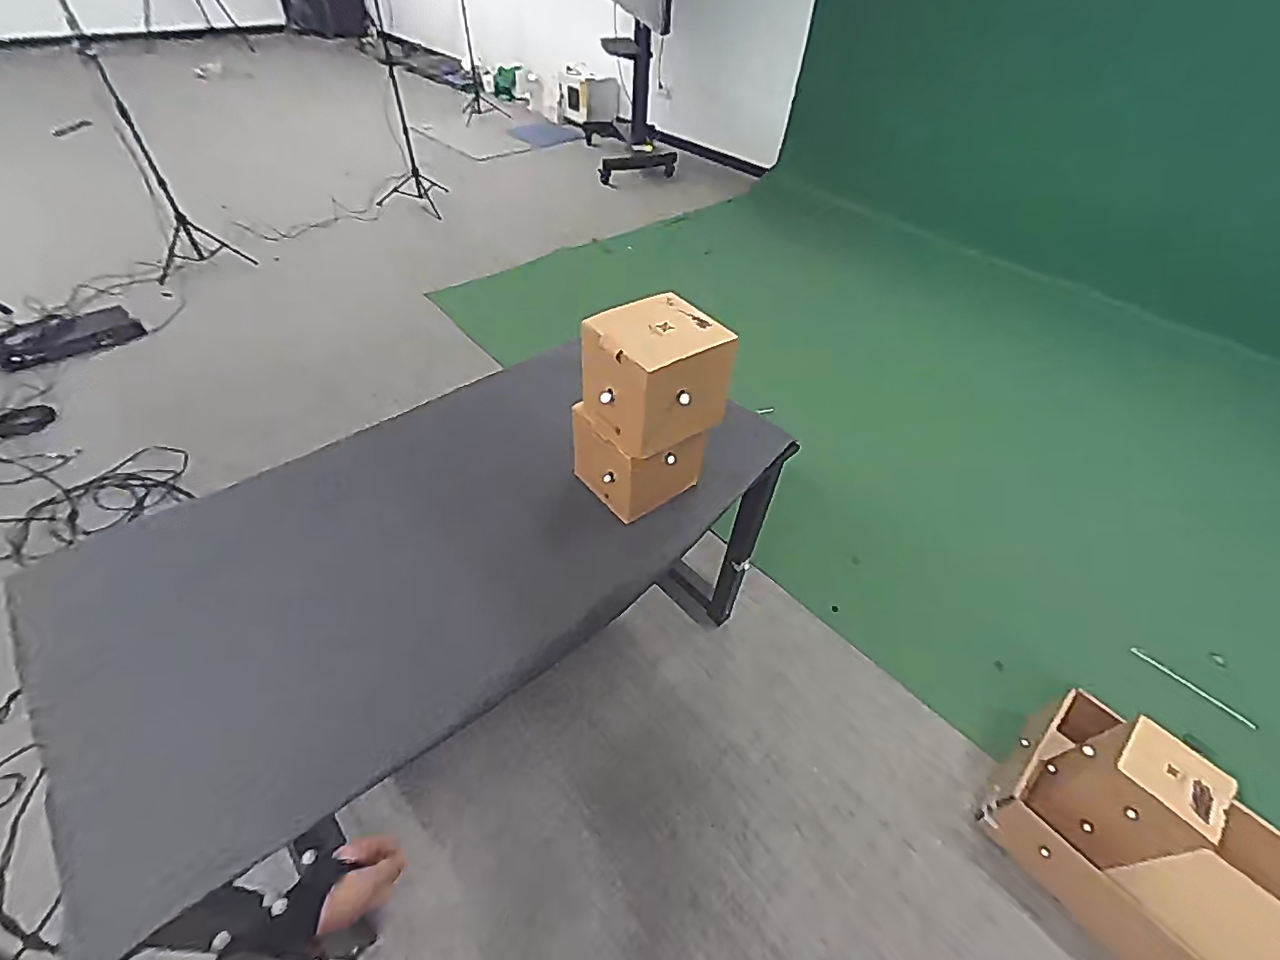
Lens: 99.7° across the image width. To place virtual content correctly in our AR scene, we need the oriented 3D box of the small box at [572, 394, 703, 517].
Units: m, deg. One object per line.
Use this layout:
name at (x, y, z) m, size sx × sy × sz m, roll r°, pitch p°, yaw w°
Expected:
small box at (-0.004, -0.064, 0.972) m, size 0.179 × 0.176 × 0.168 m, roll -29°, pitch 56°, yaw -29°

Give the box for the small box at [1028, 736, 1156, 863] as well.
small box at (1.044, 0.736, 1.239) m, size 0.168 × 0.176 × 0.179 m, roll -32°, pitch 58°, yaw -28°

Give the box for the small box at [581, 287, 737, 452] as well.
small box at (0.025, -0.172, 0.851) m, size 0.179 × 0.176 × 0.168 m, roll -27°, pitch 54°, yaw -26°

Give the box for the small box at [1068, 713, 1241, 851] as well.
small box at (1.051, 0.627, 1.116) m, size 0.168 × 0.176 × 0.179 m, roll -31°, pitch 56°, yaw -28°
